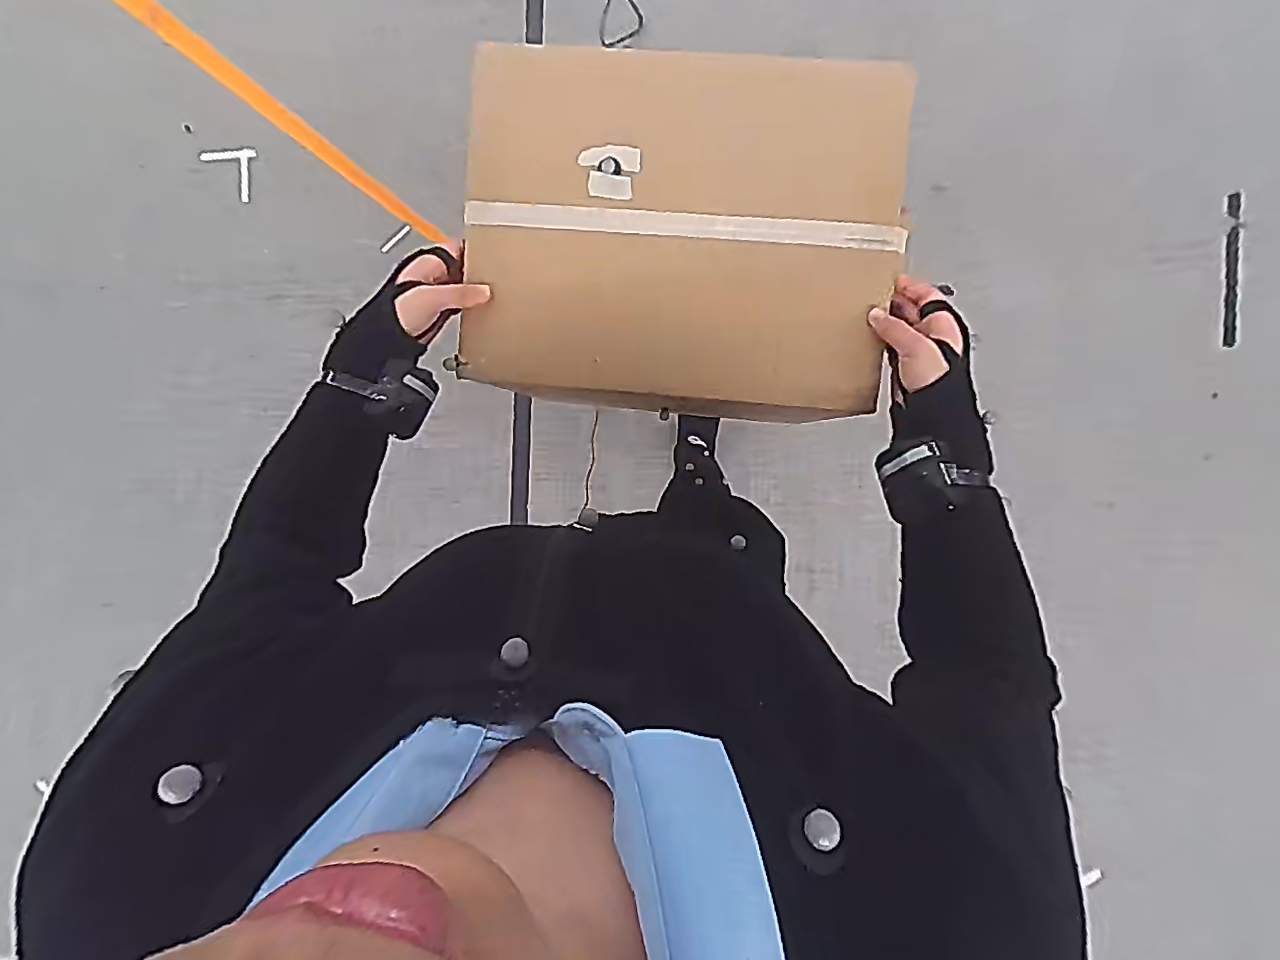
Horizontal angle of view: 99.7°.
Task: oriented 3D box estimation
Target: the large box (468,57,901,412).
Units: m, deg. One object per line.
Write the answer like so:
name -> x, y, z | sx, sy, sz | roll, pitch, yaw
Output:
large box -> 0.047, -0.254, 0.667 | 0.408, 0.320, 0.320 | 5, 93, 4
